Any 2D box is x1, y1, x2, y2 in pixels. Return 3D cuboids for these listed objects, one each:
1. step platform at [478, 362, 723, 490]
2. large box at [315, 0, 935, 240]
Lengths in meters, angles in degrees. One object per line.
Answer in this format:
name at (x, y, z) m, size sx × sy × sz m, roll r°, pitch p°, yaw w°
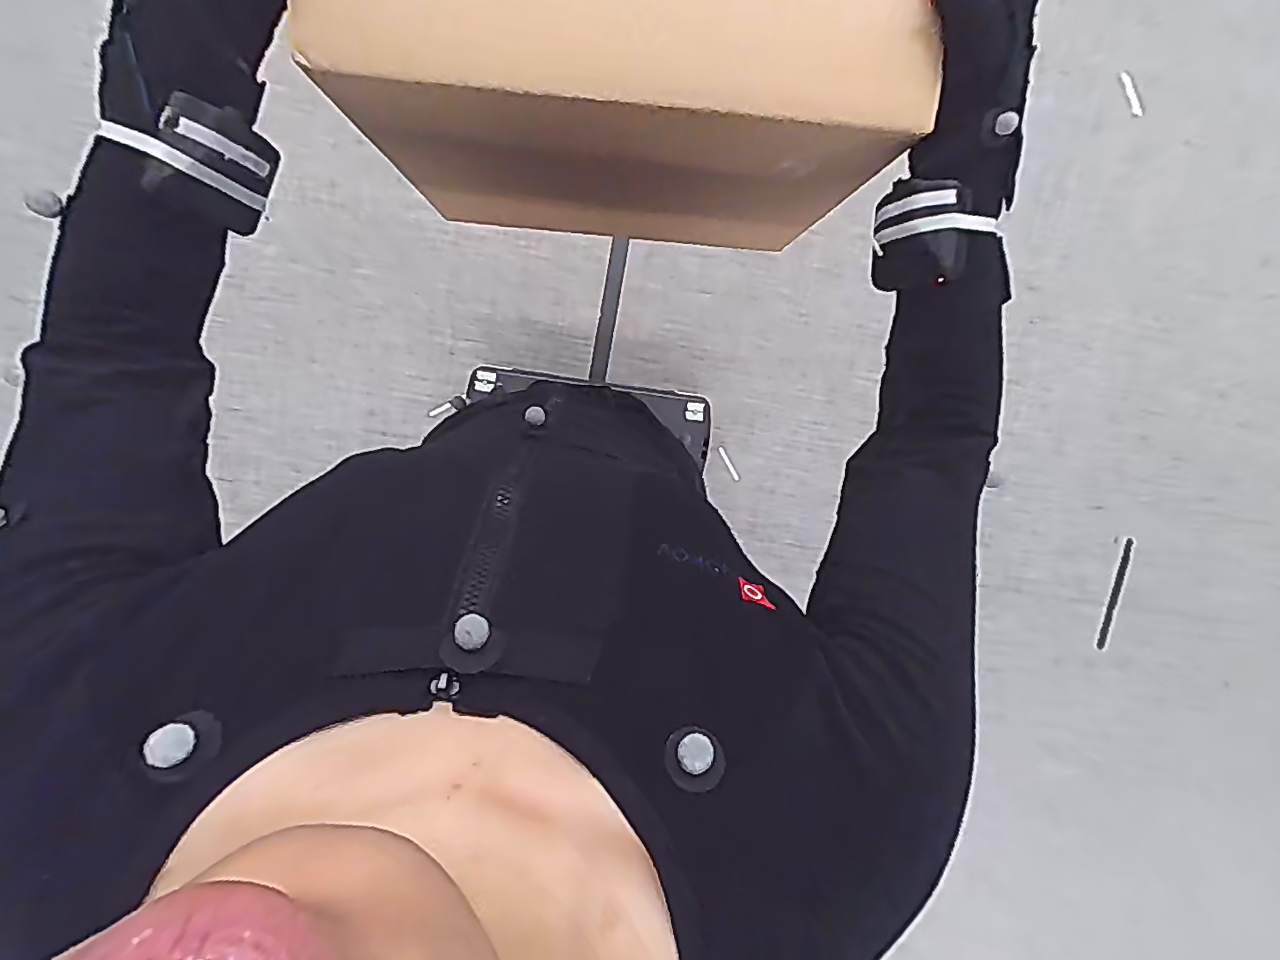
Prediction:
step platform at (-0.110, -0.153, 1.553) m, size 0.684 × 0.204 × 0.286 m, roll 7°, pitch 99°, yaw -5°
large box at (-0.009, -0.425, 0.477) m, size 0.408 × 0.320 × 0.320 m, roll 3°, pitch 100°, yaw -5°
